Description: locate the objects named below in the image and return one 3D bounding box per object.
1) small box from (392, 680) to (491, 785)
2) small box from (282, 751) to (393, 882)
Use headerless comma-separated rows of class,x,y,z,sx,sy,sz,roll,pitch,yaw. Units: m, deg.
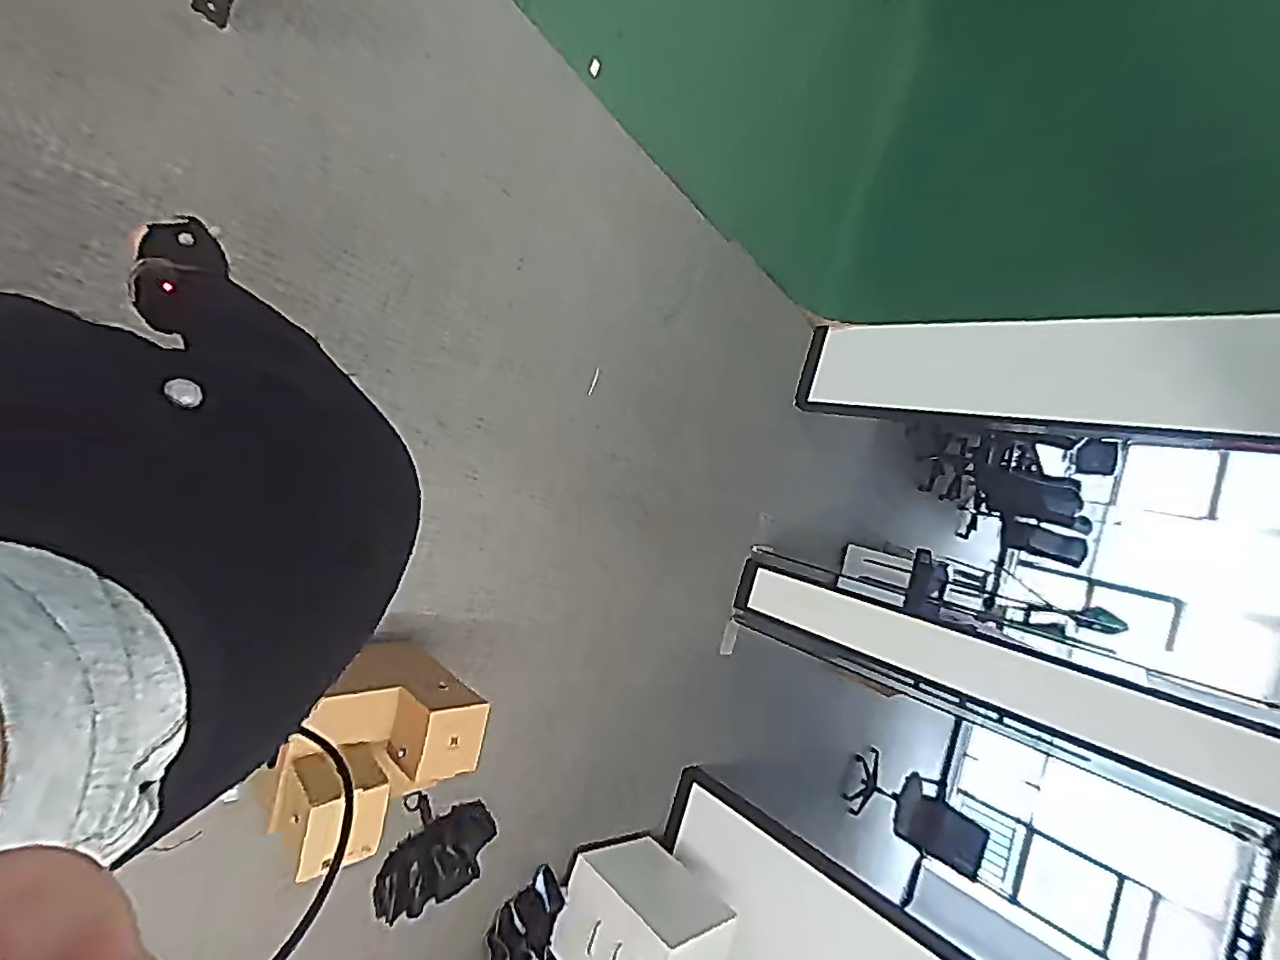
small box,-0.511,0.635,1.381,0.168,0.176,0.179,13,86,-48
small box,-0.686,0.741,1.223,0.168,0.176,0.179,8,94,-46
